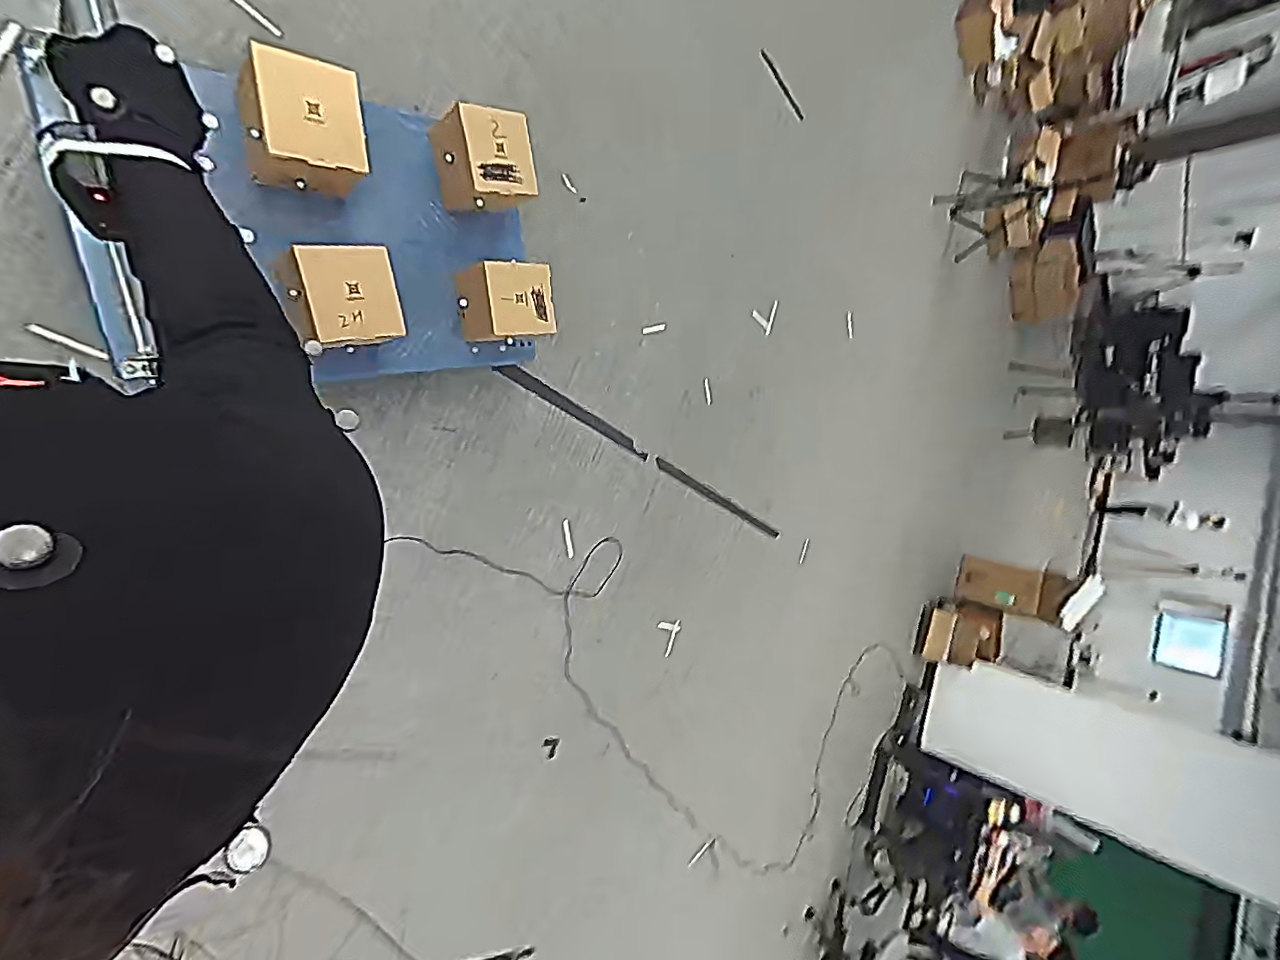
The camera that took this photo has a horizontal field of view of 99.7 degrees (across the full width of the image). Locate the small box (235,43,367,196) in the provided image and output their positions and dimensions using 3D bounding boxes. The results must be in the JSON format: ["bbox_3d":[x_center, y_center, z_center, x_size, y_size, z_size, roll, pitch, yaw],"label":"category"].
[{"bbox_3d":[-0.644,-0.667,1.025,0.168,0.176,0.179,-14,106,-41],"label":"small box"}]

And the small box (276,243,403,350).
[{"bbox_3d":[-0.611,-0.368,1.097,0.168,0.176,0.179,-20,109,-40],"label":"small box"}]

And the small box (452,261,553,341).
[{"bbox_3d":[-0.341,-0.439,1.343,0.179,0.176,0.168,-16,106,-40],"label":"small box"}]
